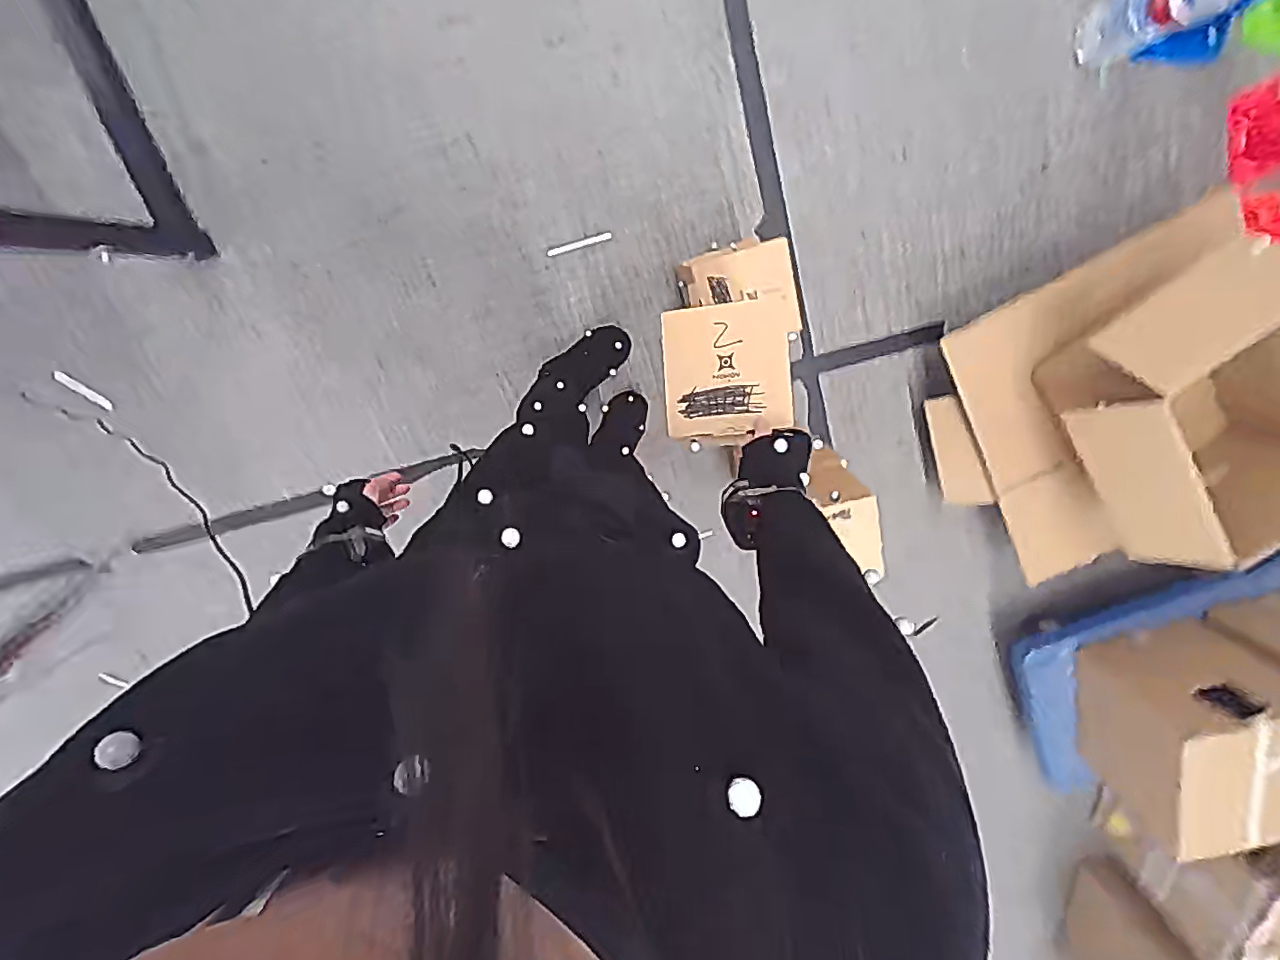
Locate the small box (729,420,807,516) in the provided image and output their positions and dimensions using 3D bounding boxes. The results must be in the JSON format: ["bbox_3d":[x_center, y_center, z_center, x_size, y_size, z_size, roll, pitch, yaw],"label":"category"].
[{"bbox_3d":[0.325,-0.034,1.352,0.168,0.176,0.179,-11,111,2],"label":"small box"}]

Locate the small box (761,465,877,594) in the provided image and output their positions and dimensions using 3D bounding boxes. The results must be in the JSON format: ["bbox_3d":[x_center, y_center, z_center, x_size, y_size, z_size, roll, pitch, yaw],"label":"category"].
[{"bbox_3d":[0.342,0.091,1.051,0.168,0.176,0.179,-13,112,4],"label":"small box"}]

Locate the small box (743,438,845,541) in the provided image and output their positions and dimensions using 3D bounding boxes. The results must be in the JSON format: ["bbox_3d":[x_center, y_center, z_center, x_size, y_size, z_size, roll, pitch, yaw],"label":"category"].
[{"bbox_3d":[0.343,0.020,1.199,0.179,0.176,0.168,-15,111,4],"label":"small box"}]

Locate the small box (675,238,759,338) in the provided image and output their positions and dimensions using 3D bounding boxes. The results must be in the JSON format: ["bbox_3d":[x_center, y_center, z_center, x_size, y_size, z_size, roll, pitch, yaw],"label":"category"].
[{"bbox_3d":[0.182,-0.420,1.202,0.168,0.176,0.179,-18,109,4],"label":"small box"}]

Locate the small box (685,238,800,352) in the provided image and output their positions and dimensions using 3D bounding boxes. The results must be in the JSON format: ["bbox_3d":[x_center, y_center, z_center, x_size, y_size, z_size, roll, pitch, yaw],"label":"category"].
[{"bbox_3d":[0.189,-0.356,1.051,0.179,0.176,0.168,-15,110,2],"label":"small box"}]
